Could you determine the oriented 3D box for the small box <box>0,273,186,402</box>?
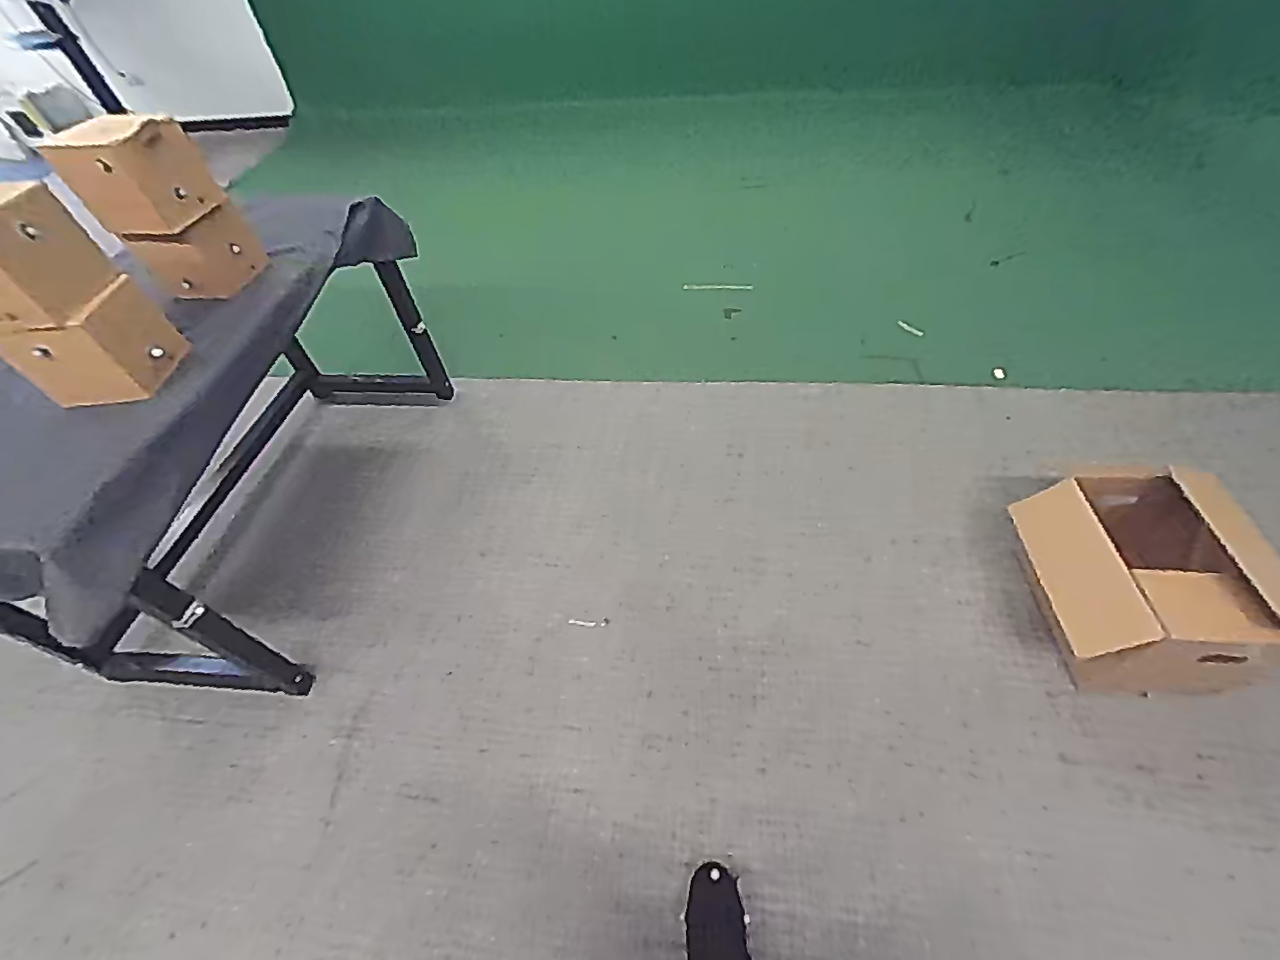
[{"bbox_3d":[-1.023,-0.261,1.009,0.179,0.176,0.168,-5,50,0],"label":"small box"}]

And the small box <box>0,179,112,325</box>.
[{"bbox_3d":[-1.049,-0.368,0.888,0.168,0.176,0.179,-2,49,2],"label":"small box"}]

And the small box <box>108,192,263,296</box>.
[{"bbox_3d":[-1.024,-0.538,1.239,0.179,0.176,0.168,3,51,7],"label":"small box"}]

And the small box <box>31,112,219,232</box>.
[{"bbox_3d":[-1.026,-0.622,1.096,0.179,0.176,0.168,5,51,9],"label":"small box"}]
